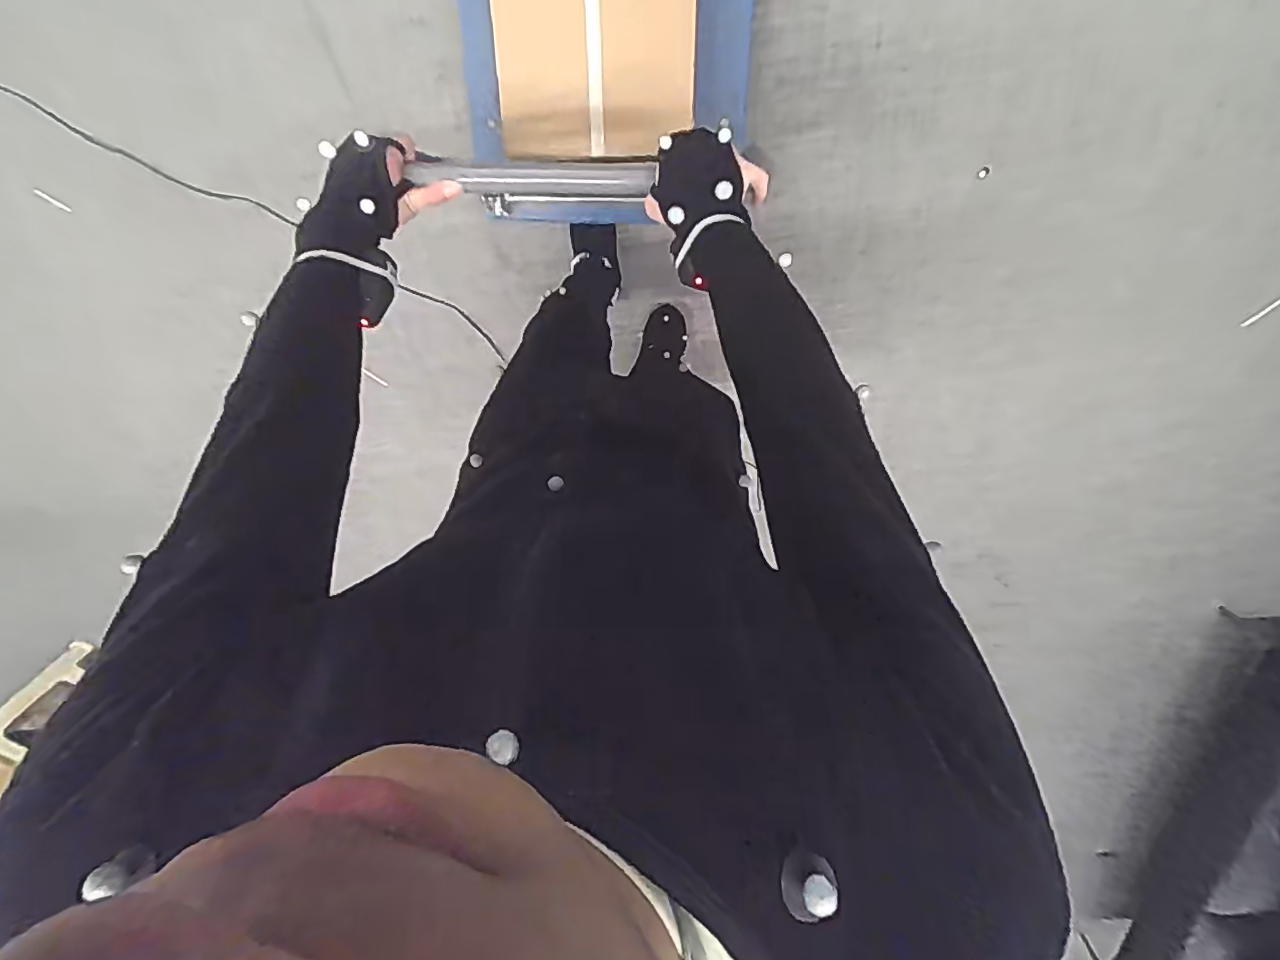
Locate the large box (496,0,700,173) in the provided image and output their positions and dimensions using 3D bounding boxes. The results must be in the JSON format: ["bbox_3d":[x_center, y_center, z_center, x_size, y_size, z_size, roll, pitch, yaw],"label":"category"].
[{"bbox_3d":[-0.055,-0.779,0.946,0.320,0.320,0.408,2,117,3],"label":"large box"}]
